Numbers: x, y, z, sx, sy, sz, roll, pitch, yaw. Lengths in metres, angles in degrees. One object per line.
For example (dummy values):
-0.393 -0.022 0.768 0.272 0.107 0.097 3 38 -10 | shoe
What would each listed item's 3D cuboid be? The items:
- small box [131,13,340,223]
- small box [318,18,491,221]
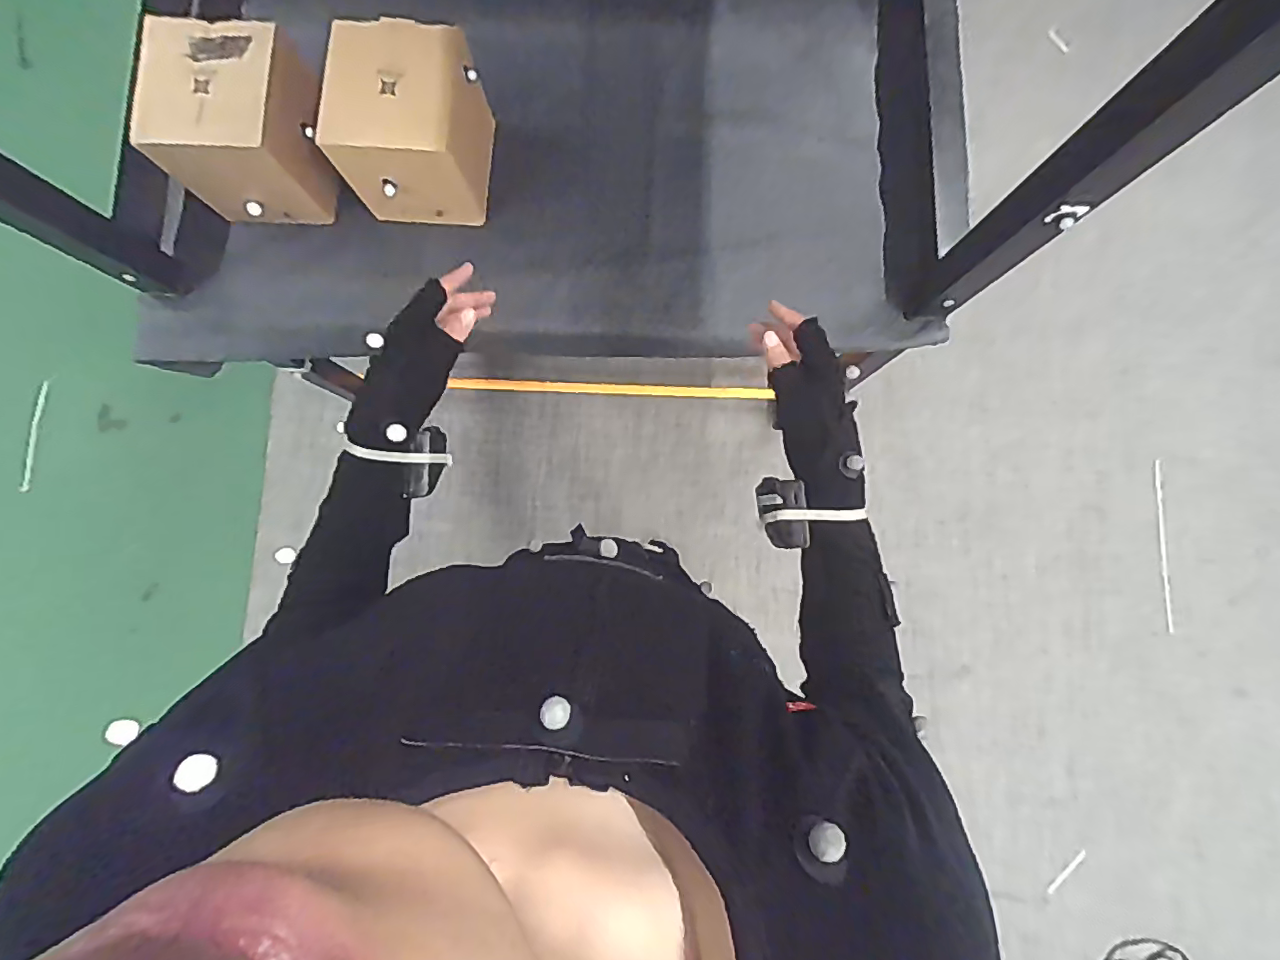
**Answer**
-0.543 -0.493 0.756 0.168 0.176 0.179 2 84 -1 | small box
-0.316 -0.492 0.761 0.168 0.176 0.179 3 83 -1 | small box
